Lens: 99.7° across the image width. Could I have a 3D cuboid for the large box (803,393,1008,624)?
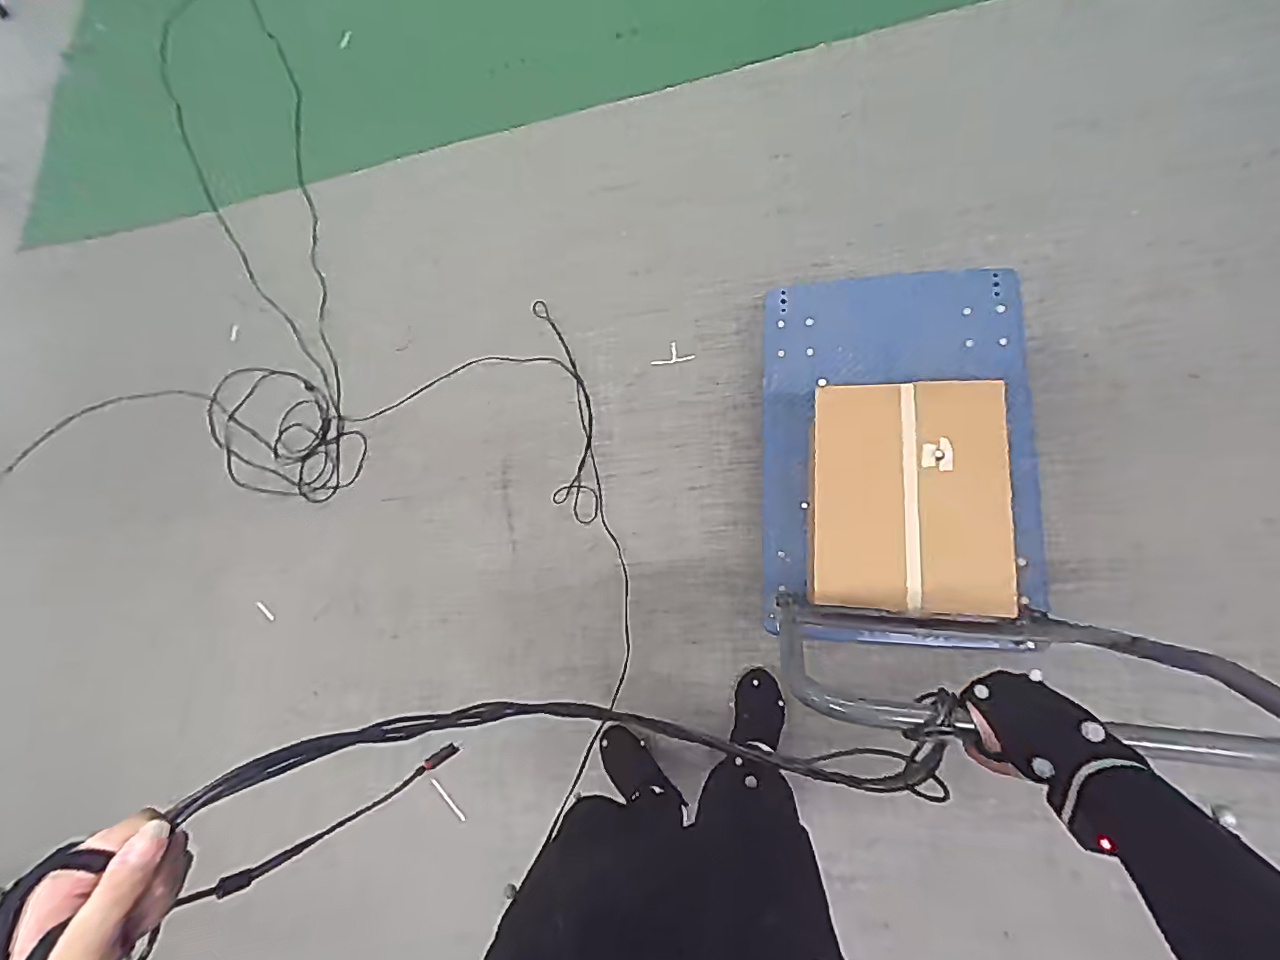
[{"bbox_3d":[0.492,0.073,1.087,0.320,0.320,0.408,1,78,14],"label":"large box"}]
